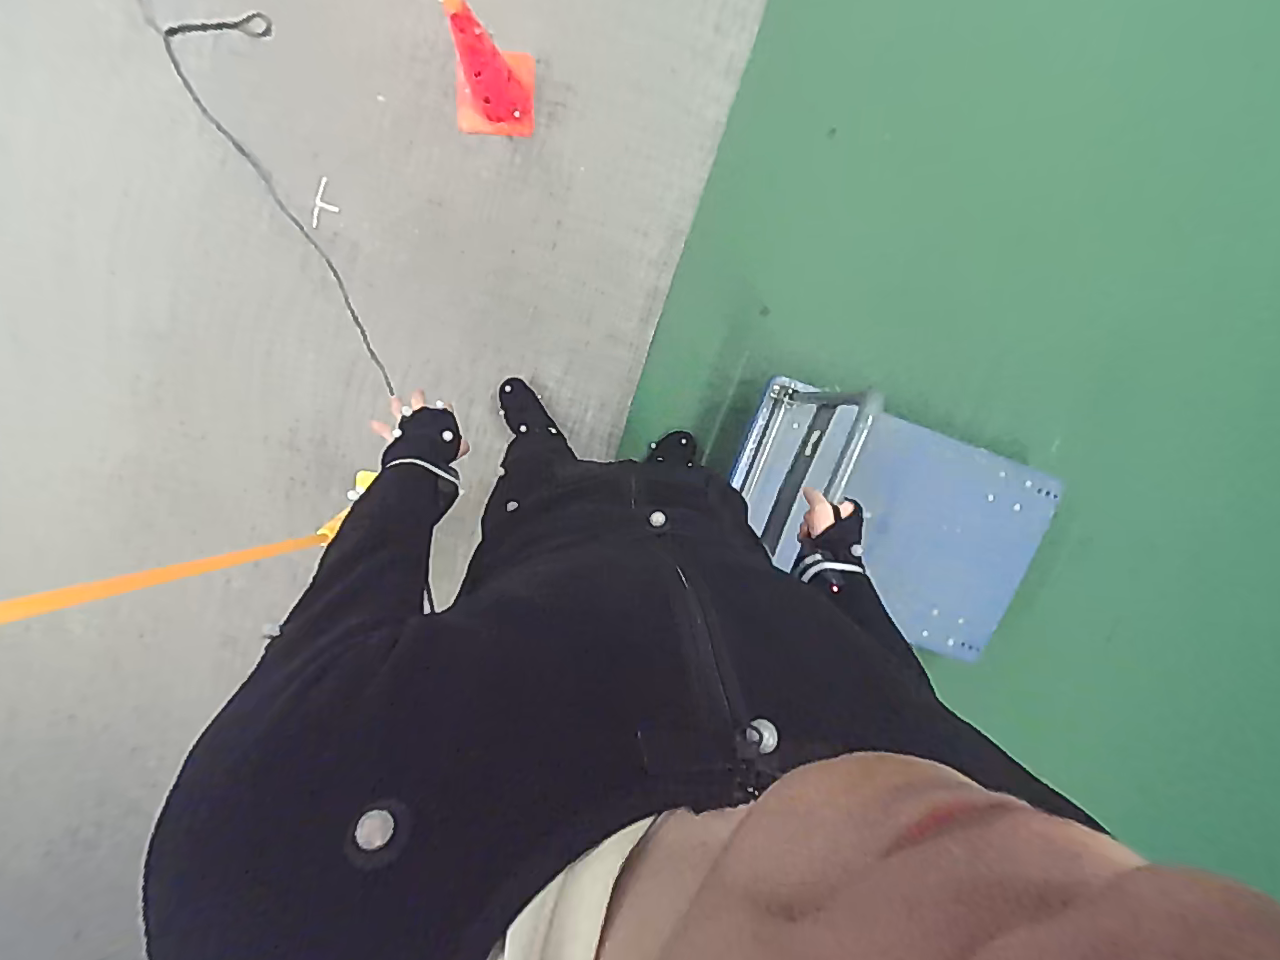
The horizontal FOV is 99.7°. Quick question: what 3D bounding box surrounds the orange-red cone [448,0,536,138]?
[{"bbox_3d":[-0.375,-0.997,1.264,0.198,0.360,0.199,4,98,-2],"label":"orange-red cone"}]
